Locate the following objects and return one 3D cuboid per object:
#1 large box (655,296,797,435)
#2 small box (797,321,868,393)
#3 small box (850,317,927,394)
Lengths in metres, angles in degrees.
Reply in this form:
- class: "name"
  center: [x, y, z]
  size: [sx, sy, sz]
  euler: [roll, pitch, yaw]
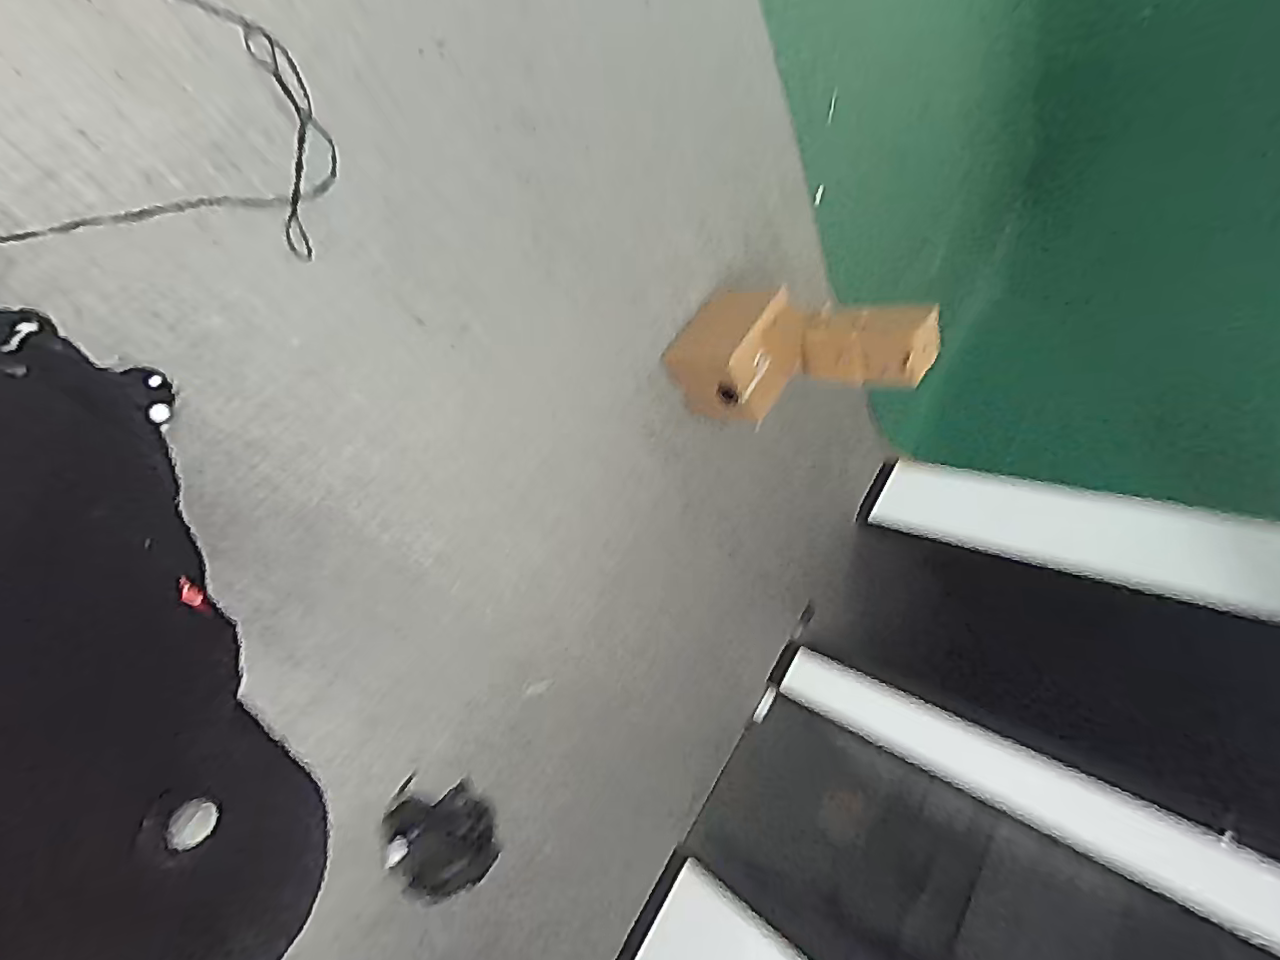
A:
- class: "large box"
  center: [0.329, -0.439, 2.030]
  size: [0.408, 0.320, 0.320]
  euler: [-53, 132, -20]
- class: "small box"
  center: [0.633, -0.405, 1.756]
  size: [0.168, 0.176, 0.179]
  euler: [-41, 128, -29]
- class: "small box"
  center: [0.755, -0.383, 1.651]
  size: [0.179, 0.176, 0.168]
  euler: [-44, 130, -28]
